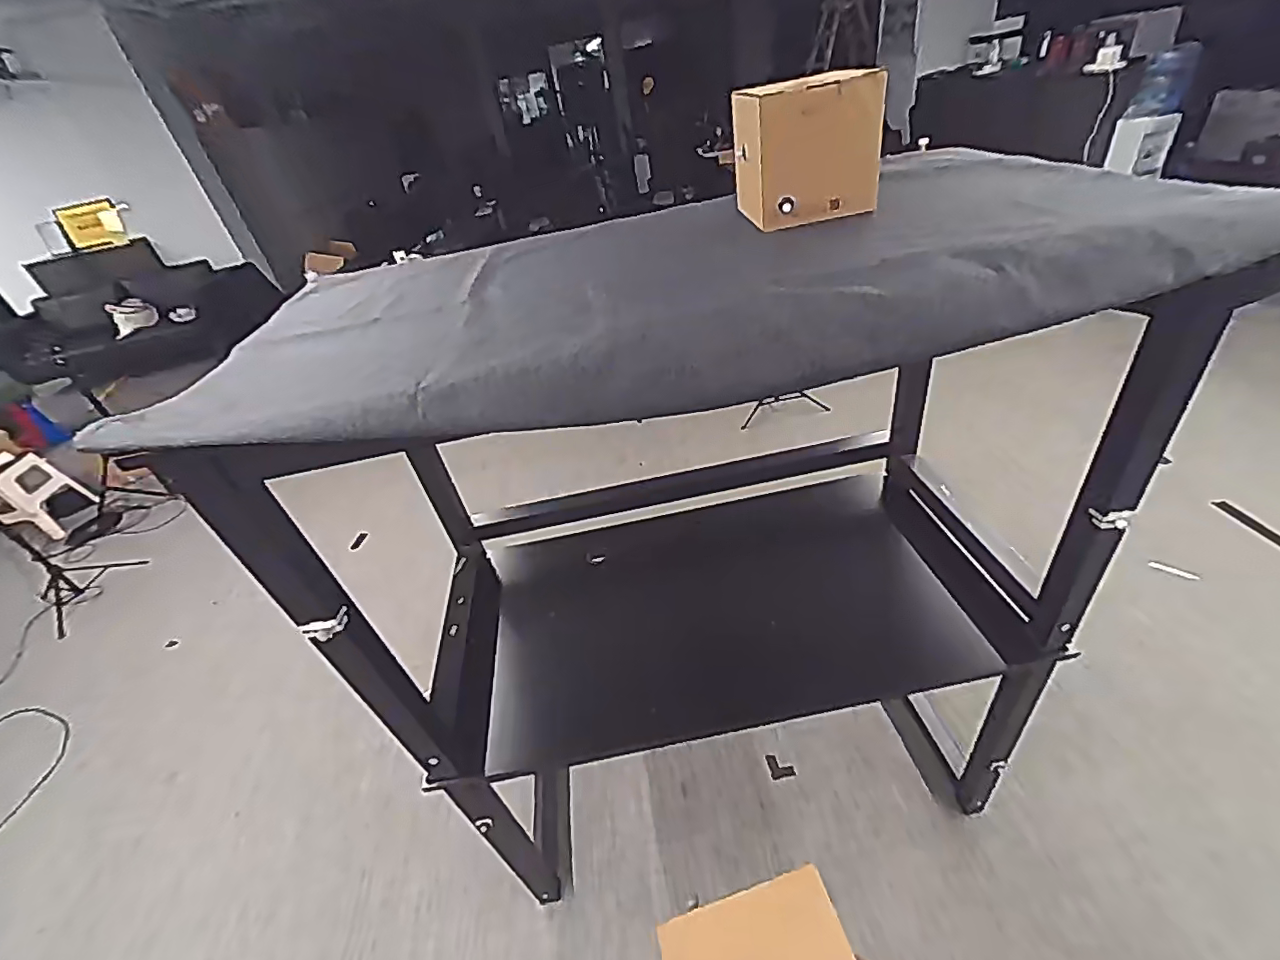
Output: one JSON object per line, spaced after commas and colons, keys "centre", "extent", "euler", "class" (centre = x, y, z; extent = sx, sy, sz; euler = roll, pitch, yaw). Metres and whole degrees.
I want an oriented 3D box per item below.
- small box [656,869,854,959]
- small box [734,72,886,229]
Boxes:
{"centre": [0.131, 0.527, 0.543], "extent": [0.179, 0.176, 0.168], "euler": [-19, 44, -3], "class": "small box"}
{"centre": [0.242, -0.484, 0.801], "extent": [0.168, 0.176, 0.179], "euler": [-10, 36, 2], "class": "small box"}
